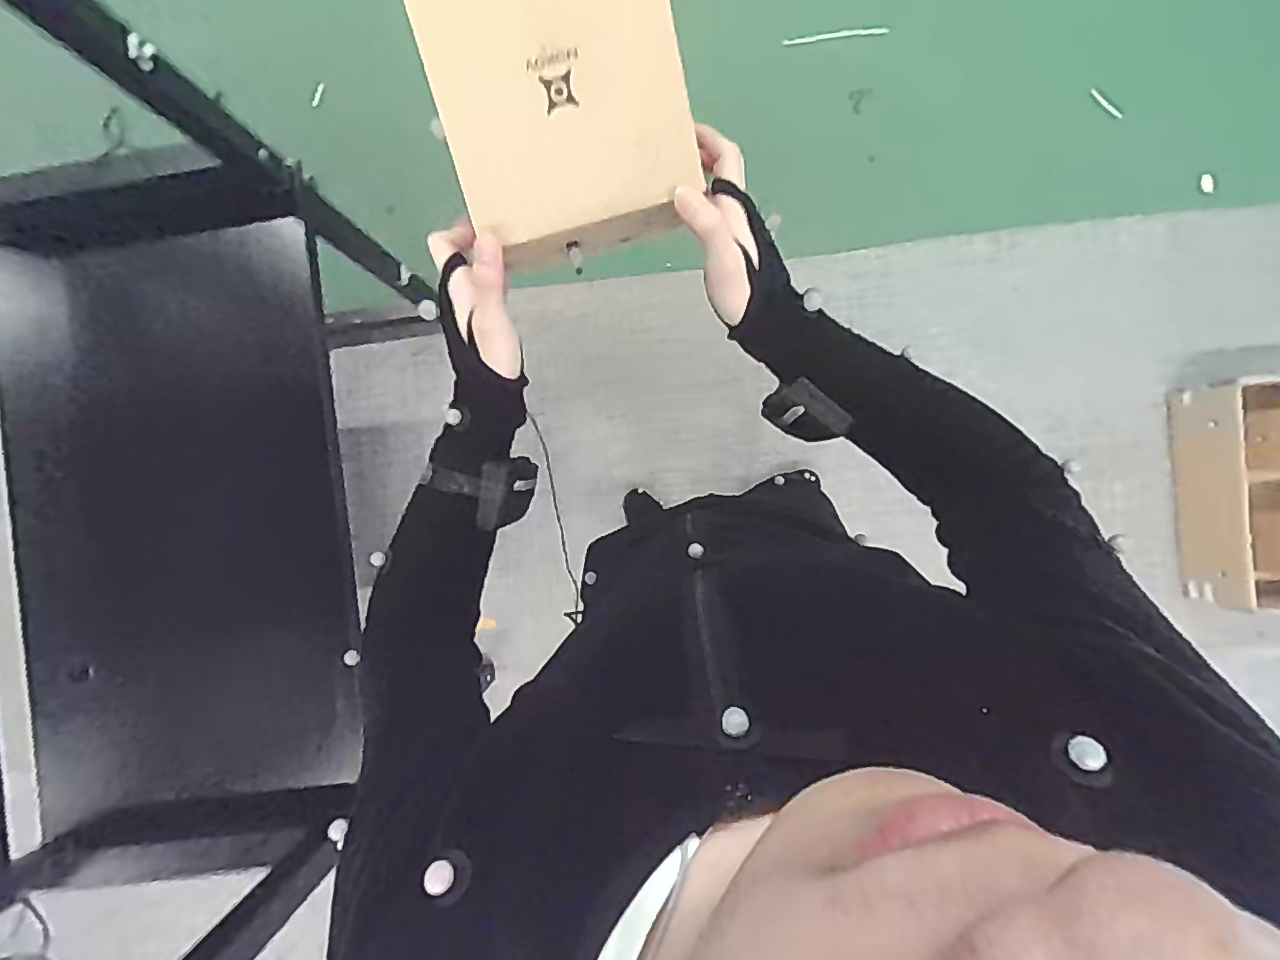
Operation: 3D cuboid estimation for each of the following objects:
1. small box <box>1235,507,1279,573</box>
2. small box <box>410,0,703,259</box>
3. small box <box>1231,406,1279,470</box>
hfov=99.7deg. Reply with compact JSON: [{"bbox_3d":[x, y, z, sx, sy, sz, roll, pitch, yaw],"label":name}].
[{"bbox_3d":[1.761,0.159,1.436,0.179,0.176,0.168,-5,88,3],"label":"small box"},{"bbox_3d":[-0.052,-0.285,0.431,0.168,0.176,0.179,-13,106,3],"label":"small box"},{"bbox_3d":[1.738,-0.115,1.438,0.179,0.176,0.168,-5,90,2],"label":"small box"}]
